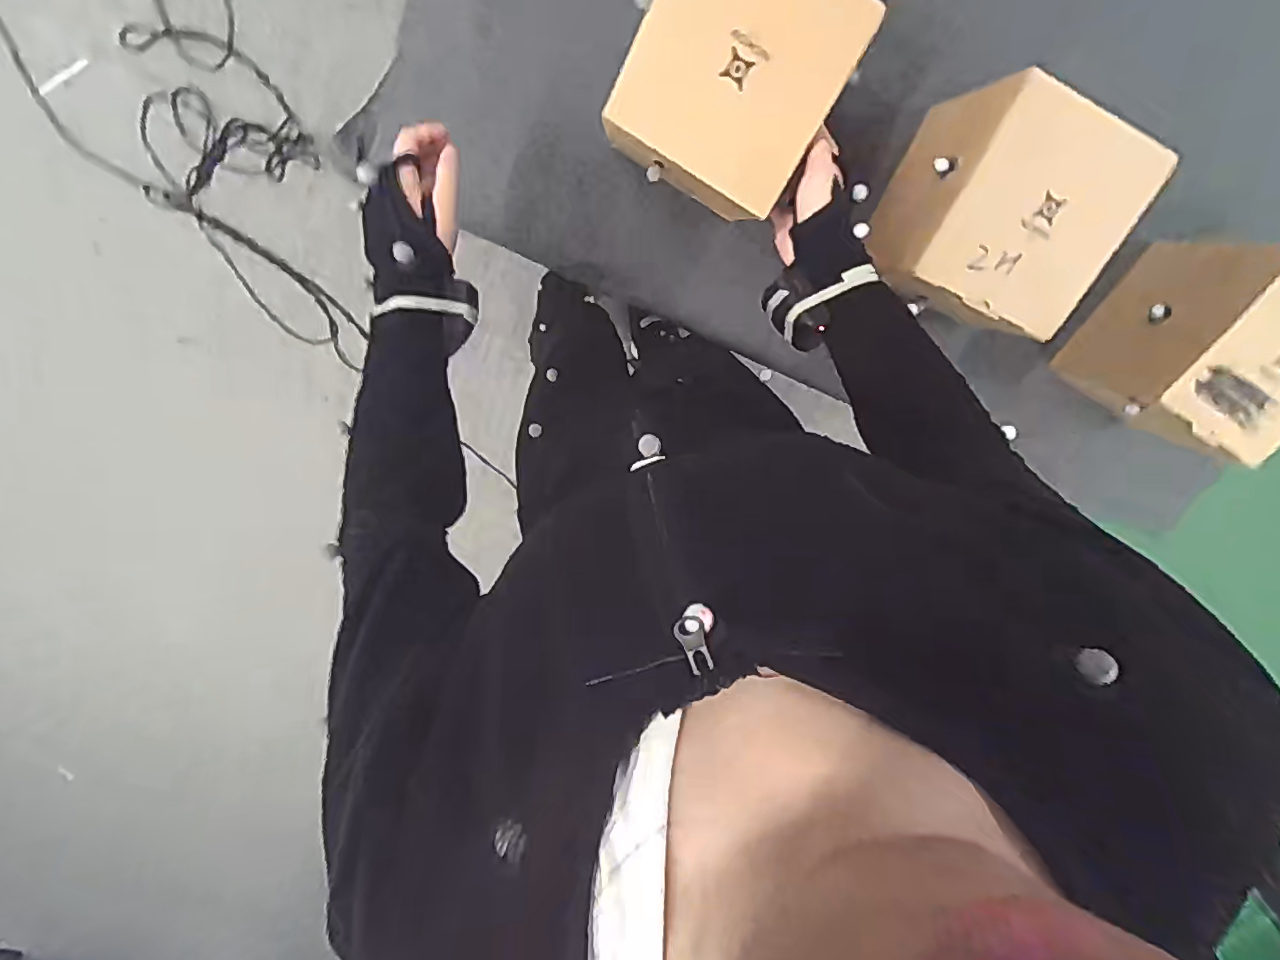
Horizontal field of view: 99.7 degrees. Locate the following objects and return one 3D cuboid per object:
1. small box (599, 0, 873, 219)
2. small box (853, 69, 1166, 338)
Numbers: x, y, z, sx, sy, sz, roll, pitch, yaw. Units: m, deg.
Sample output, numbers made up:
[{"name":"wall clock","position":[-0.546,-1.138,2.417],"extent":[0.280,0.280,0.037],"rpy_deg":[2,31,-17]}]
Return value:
[{"name":"small box","position":[0.075,-0.370,0.514],"extent":[0.168,0.176,0.179],"rpy_deg":[25,111,-13]},{"name":"small box","position":[0.357,-0.275,0.566],"extent":[0.168,0.176,0.179],"rpy_deg":[21,113,-11]}]
